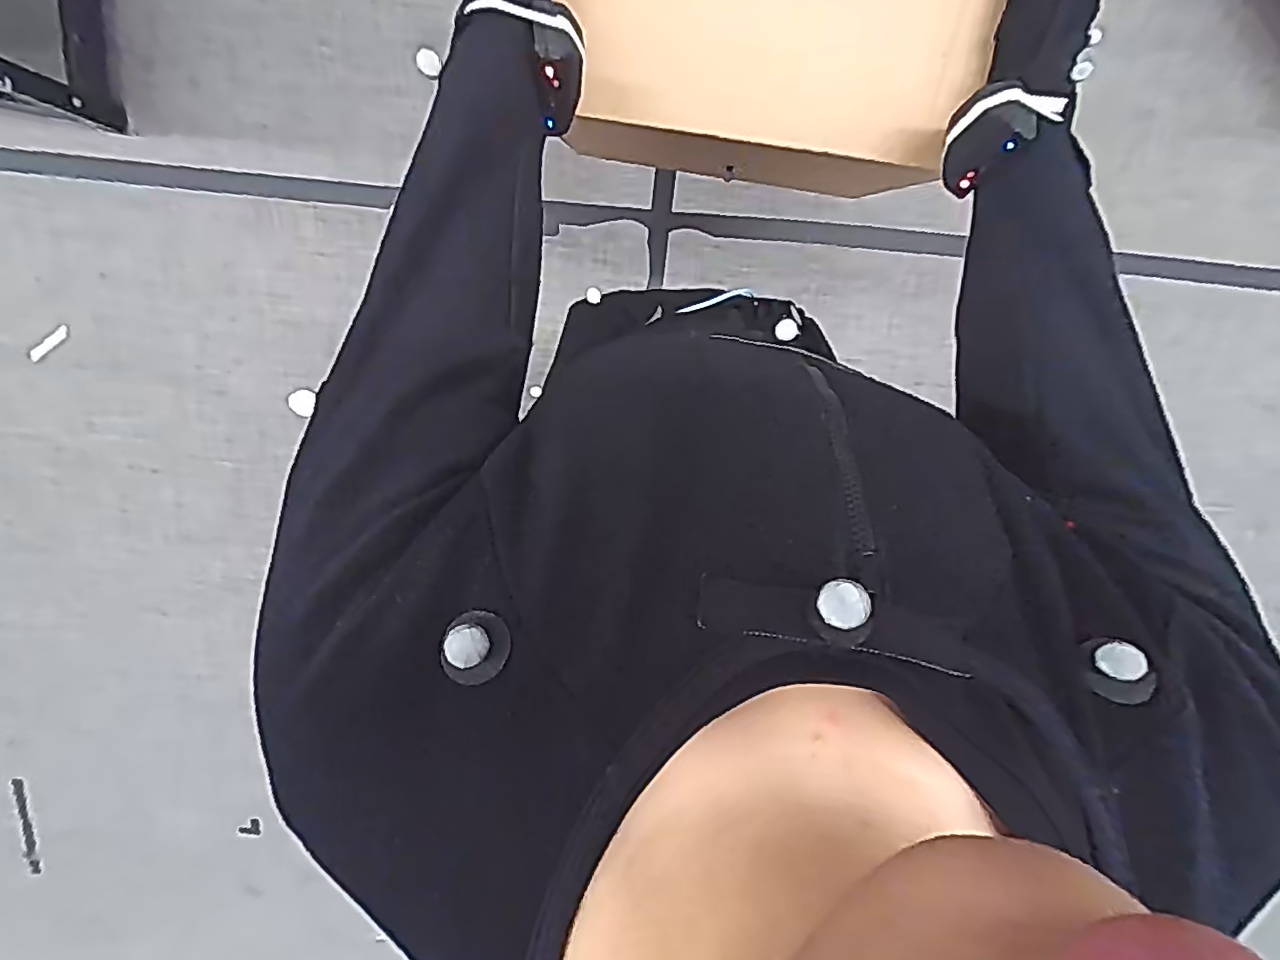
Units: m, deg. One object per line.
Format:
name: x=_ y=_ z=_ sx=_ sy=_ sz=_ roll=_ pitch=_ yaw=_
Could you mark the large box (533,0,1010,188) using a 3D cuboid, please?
large box: x=0.124 y=-0.512 z=0.571 sx=0.408 sy=0.320 sz=0.320 roll=8 pitch=114 yaw=-2
